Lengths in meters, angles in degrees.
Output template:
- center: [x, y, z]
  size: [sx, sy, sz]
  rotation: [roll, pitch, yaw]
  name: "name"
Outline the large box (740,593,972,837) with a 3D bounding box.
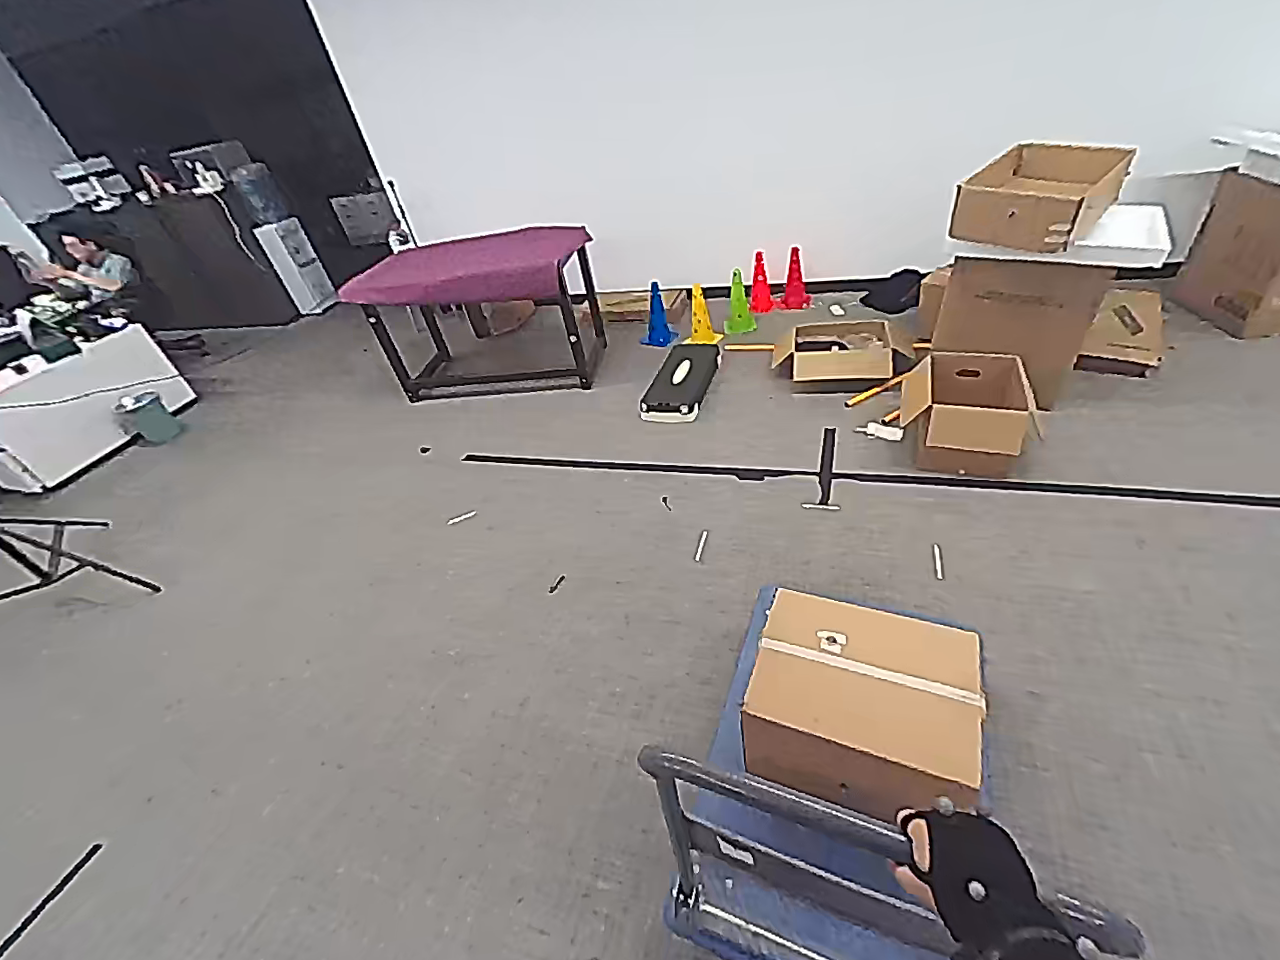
- center: [0.460, 0.495, 1.174]
  size: [0.408, 0.320, 0.320]
  rotation: [8, 42, 24]
  name: "large box"
